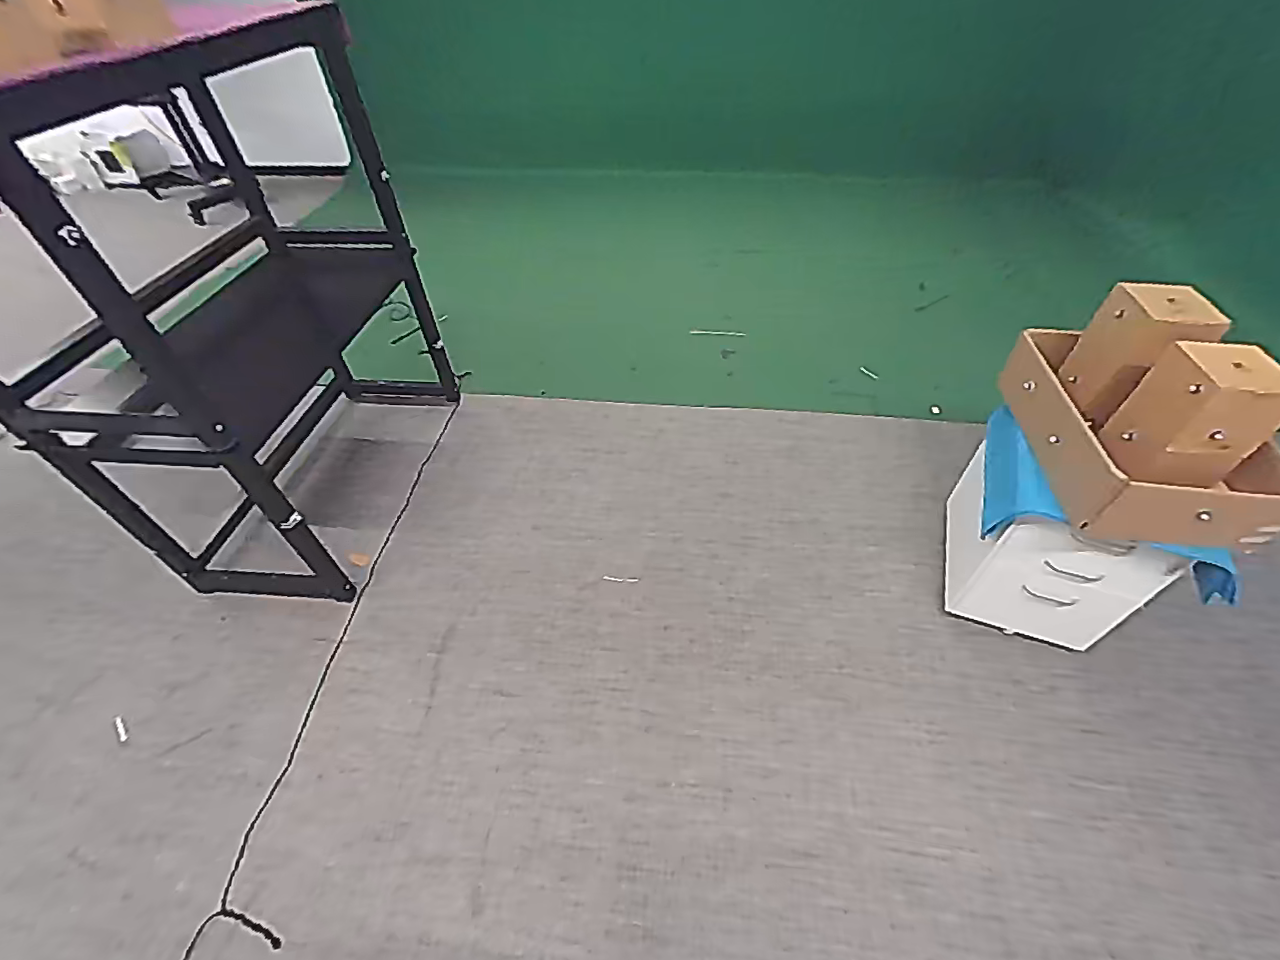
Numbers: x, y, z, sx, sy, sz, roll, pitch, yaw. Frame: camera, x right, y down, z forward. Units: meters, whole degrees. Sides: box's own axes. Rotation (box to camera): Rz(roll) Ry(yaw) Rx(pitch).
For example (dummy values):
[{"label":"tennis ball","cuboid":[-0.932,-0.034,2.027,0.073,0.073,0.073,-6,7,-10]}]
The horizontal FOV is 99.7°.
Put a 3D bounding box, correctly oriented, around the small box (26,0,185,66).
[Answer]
[{"label":"small box","cuboid":[-1.129,-0.989,1.137,0.168,0.176,0.179,5,47,9]}]
